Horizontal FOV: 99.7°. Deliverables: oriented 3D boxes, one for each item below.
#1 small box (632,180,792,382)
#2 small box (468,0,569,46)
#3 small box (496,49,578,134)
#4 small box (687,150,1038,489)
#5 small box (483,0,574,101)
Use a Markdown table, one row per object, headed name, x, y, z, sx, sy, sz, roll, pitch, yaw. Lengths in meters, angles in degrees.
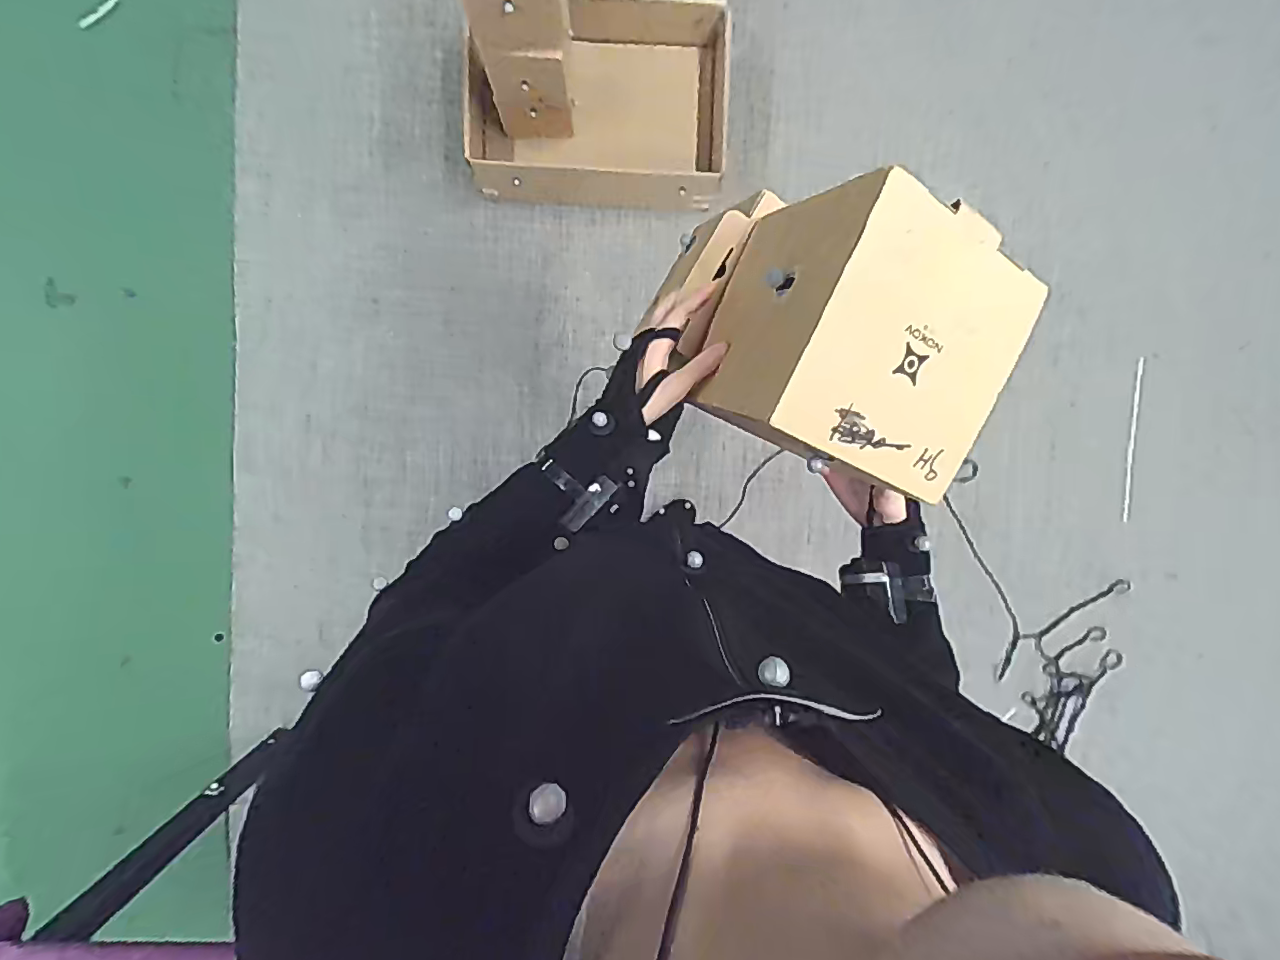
| name | x | y | z | sx | sy | sz | roll | pitch | yaw |
| --- | --- | --- | --- | --- | --- | --- | --- | --- | --- |
| small box | 0.115 | -0.178 | 0.591 | 0.179 | 0.176 | 0.168 | 30 | 93 | -22 |
| small box | -0.222 | -0.927 | 0.976 | 0.179 | 0.176 | 0.168 | -5 | 97 | -2 |
| small box | -0.244 | -0.961 | 1.299 | 0.179 | 0.176 | 0.168 | -2 | 95 | -4 |
| small box | 0.161 | -0.117 | 0.443 | 0.168 | 0.176 | 0.179 | 22 | 96 | -21 |
| small box | -0.227 | -0.938 | 1.138 | 0.168 | 0.176 | 0.179 | 3 | 95 | -4 |
